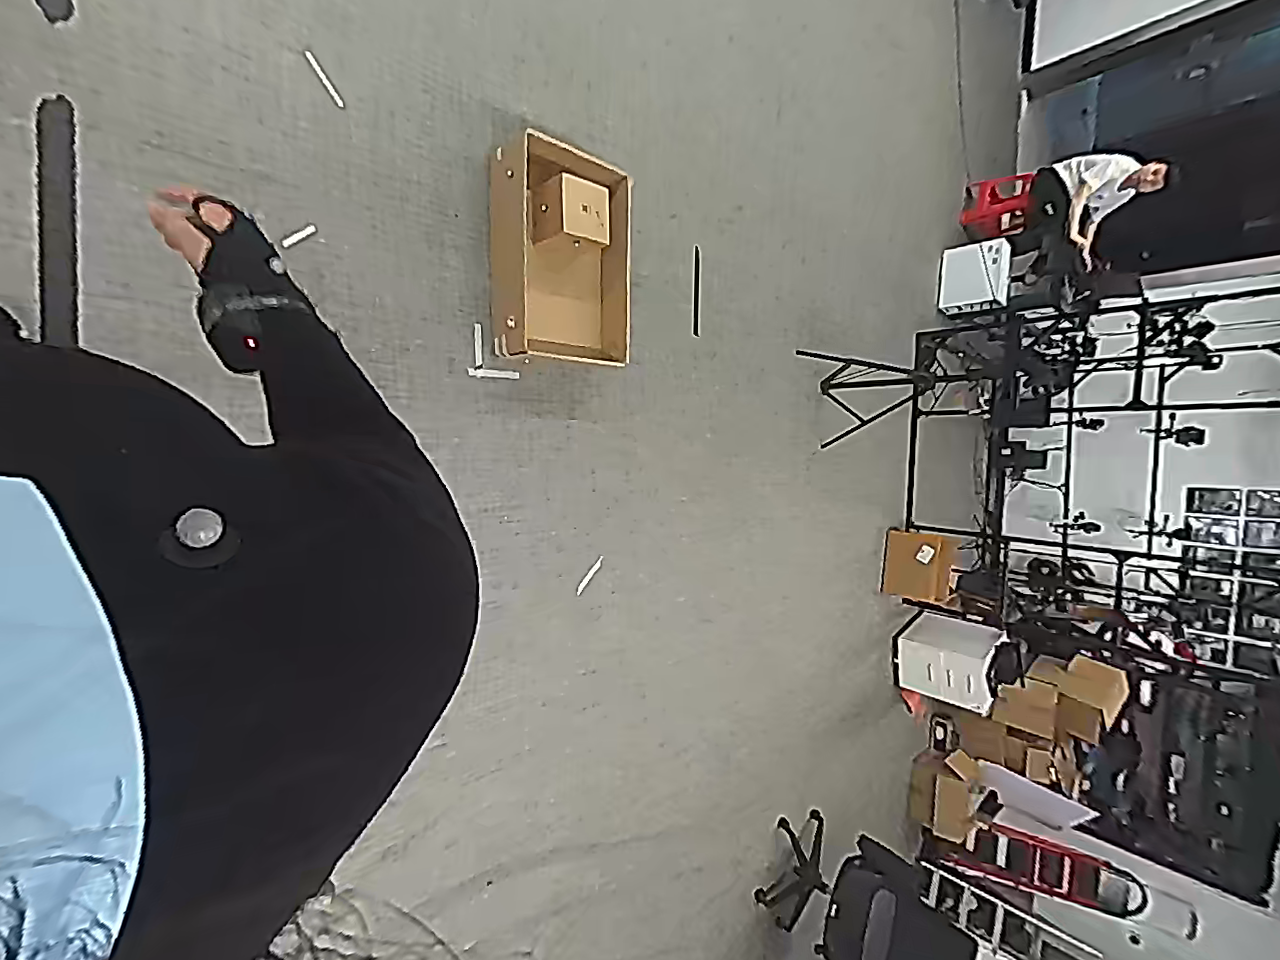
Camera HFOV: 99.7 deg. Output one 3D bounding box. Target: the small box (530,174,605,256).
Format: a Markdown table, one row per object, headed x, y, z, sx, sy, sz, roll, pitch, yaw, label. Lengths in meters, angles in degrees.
| x | y | z | sx | sy | sz | roll | pitch | yaw | label |
| --- | --- | --- | --- | --- | --- | --- | --- | --- | --- |
| -0.225 | -0.802 | 1.659 | 0.179 | 0.176 | 0.168 | -6 | 99 | -44 | small box |
